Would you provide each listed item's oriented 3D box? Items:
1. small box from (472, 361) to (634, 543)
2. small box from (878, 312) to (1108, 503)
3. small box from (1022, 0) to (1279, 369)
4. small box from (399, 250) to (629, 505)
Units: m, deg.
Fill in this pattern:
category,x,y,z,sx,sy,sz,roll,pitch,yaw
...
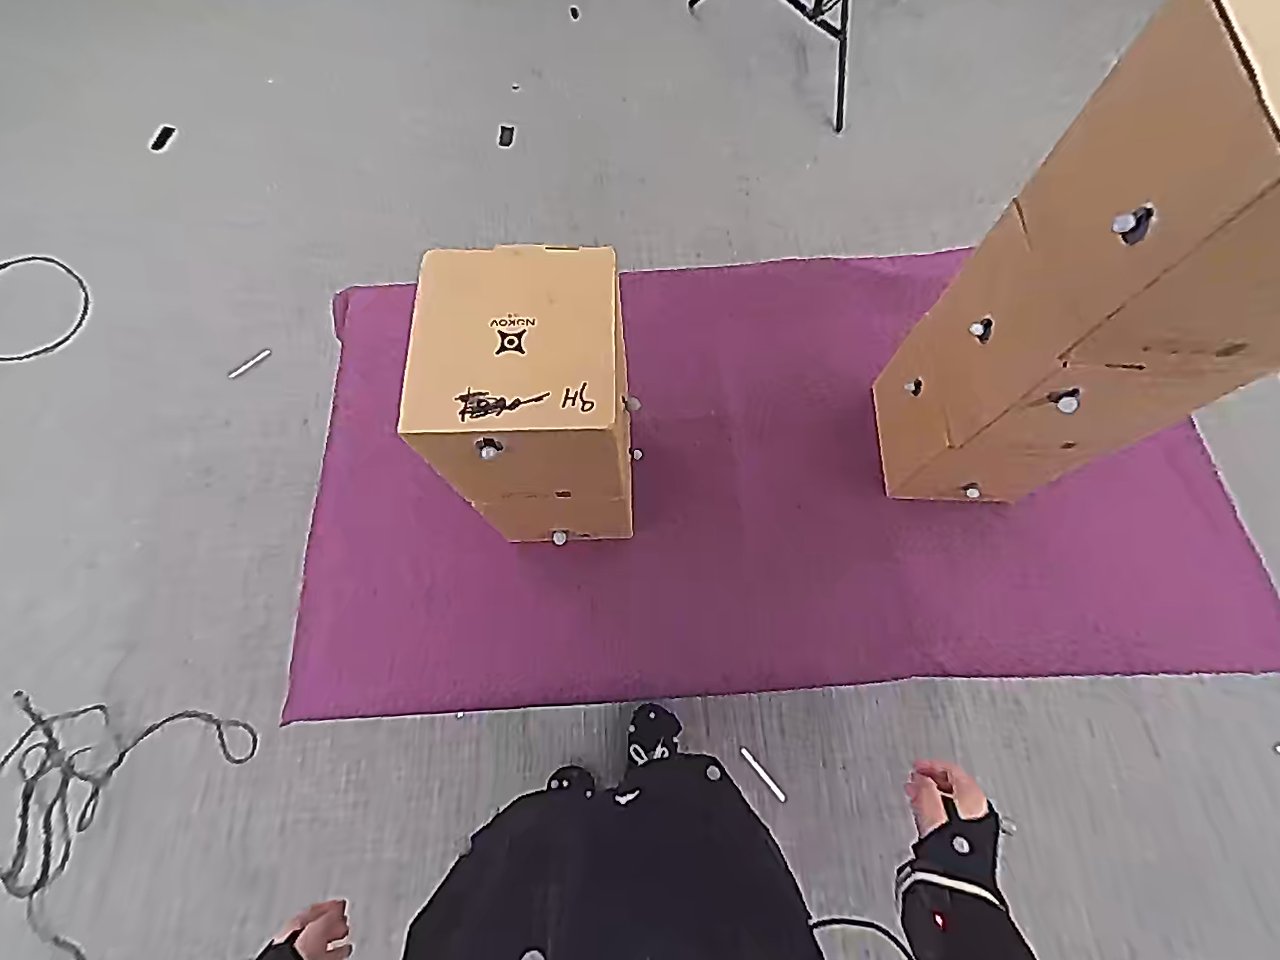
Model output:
category,x,y,z,sx,sy,sz,roll,pitch,yaw
small box,-0.093,-0.029,0.659,0.168,0.176,0.179,-2,70,1
small box,0.411,-0.083,0.668,0.168,0.176,0.179,2,69,3
small box,0.401,-0.192,0.361,0.168,0.176,0.179,4,68,2
small box,-0.097,-0.086,0.505,0.168,0.176,0.179,-1,69,1
